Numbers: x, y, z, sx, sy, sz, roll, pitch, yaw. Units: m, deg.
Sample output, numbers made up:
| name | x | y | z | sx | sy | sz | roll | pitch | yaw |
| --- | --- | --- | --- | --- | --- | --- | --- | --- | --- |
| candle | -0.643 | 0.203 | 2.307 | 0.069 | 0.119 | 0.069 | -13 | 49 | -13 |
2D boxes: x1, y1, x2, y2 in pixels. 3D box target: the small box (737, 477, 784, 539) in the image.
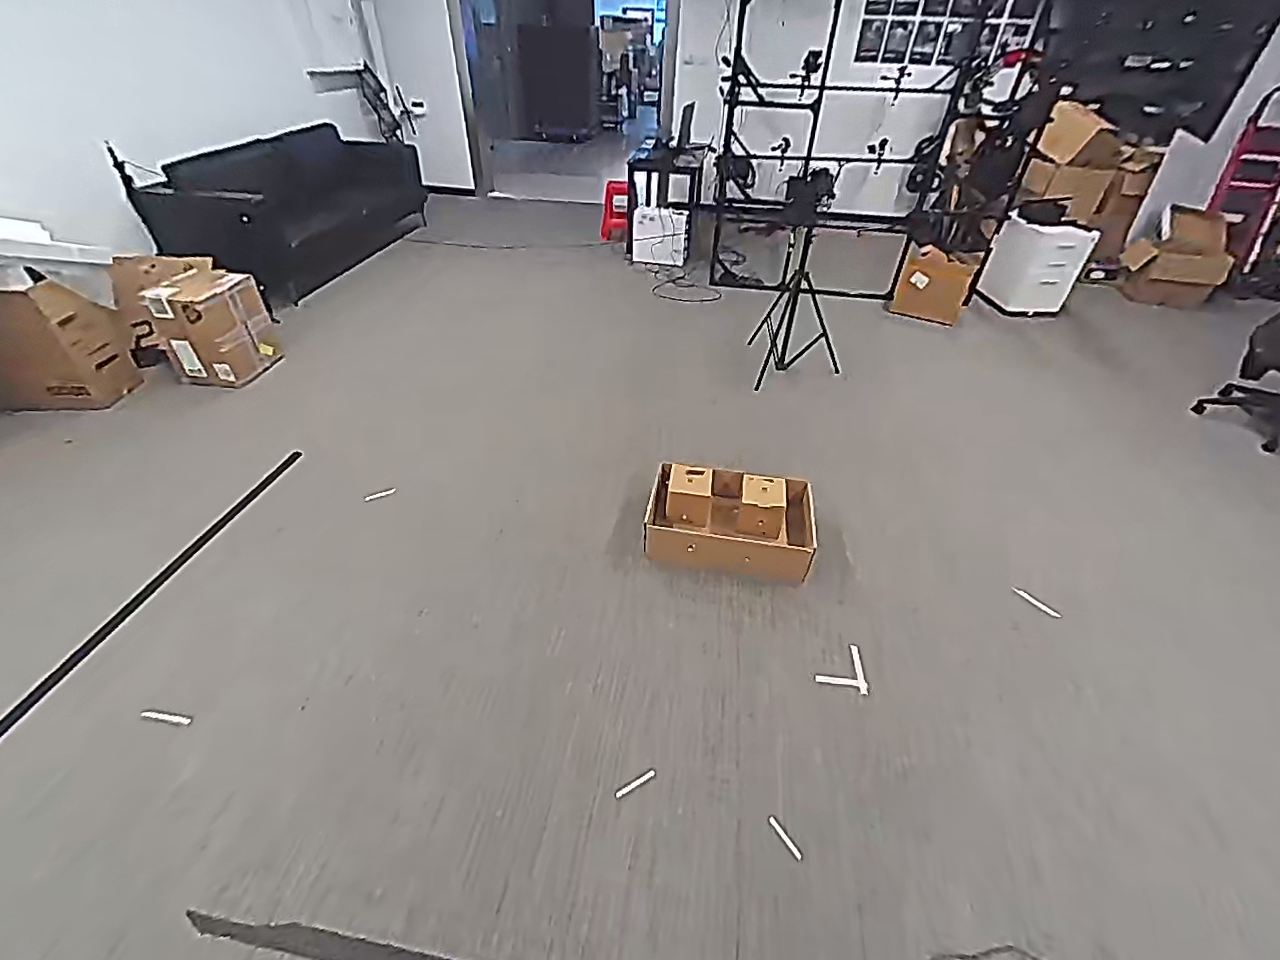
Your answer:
| name | x | y | z | sx | sy | sz | roll | pitch | yaw |
| --- | --- | --- | --- | --- | --- | --- | --- | --- | --- |
| small box | 0.475 | 0.111 | 2.134 | 0.168 | 0.176 | 0.179 | 6 | 41 | 10 |
